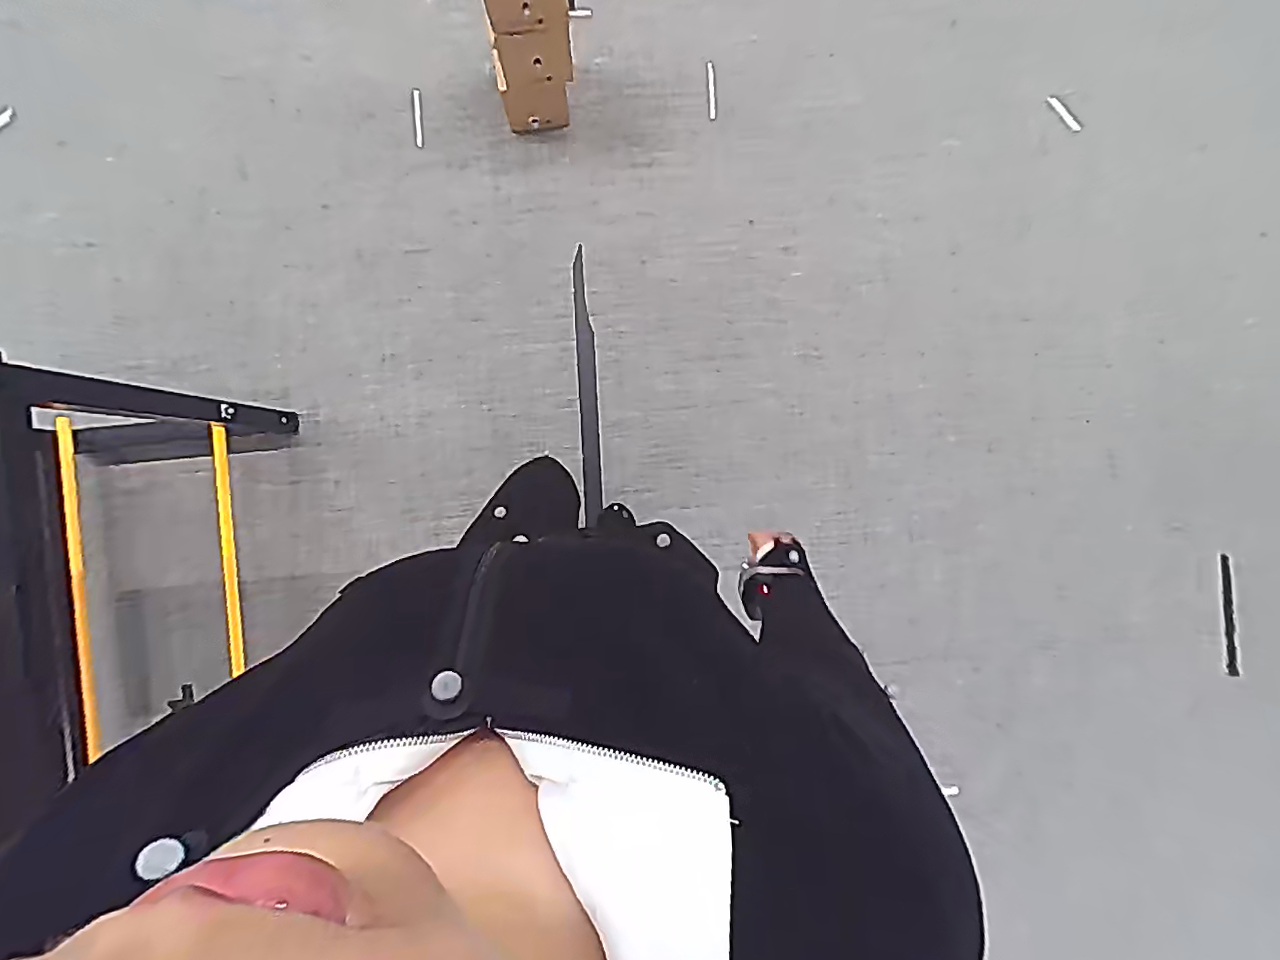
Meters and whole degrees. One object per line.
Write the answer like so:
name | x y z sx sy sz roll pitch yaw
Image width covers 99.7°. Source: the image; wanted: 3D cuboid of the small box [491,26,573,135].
small box | -0.271 -1.030 1.387 0.168 0.176 0.179 -10 93 -2

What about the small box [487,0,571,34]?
small box | -0.231 -1.031 1.059 0.168 0.176 0.179 -6 91 -1

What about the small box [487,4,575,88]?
small box | -0.246 -1.028 1.224 0.168 0.176 0.179 -11 92 -2
